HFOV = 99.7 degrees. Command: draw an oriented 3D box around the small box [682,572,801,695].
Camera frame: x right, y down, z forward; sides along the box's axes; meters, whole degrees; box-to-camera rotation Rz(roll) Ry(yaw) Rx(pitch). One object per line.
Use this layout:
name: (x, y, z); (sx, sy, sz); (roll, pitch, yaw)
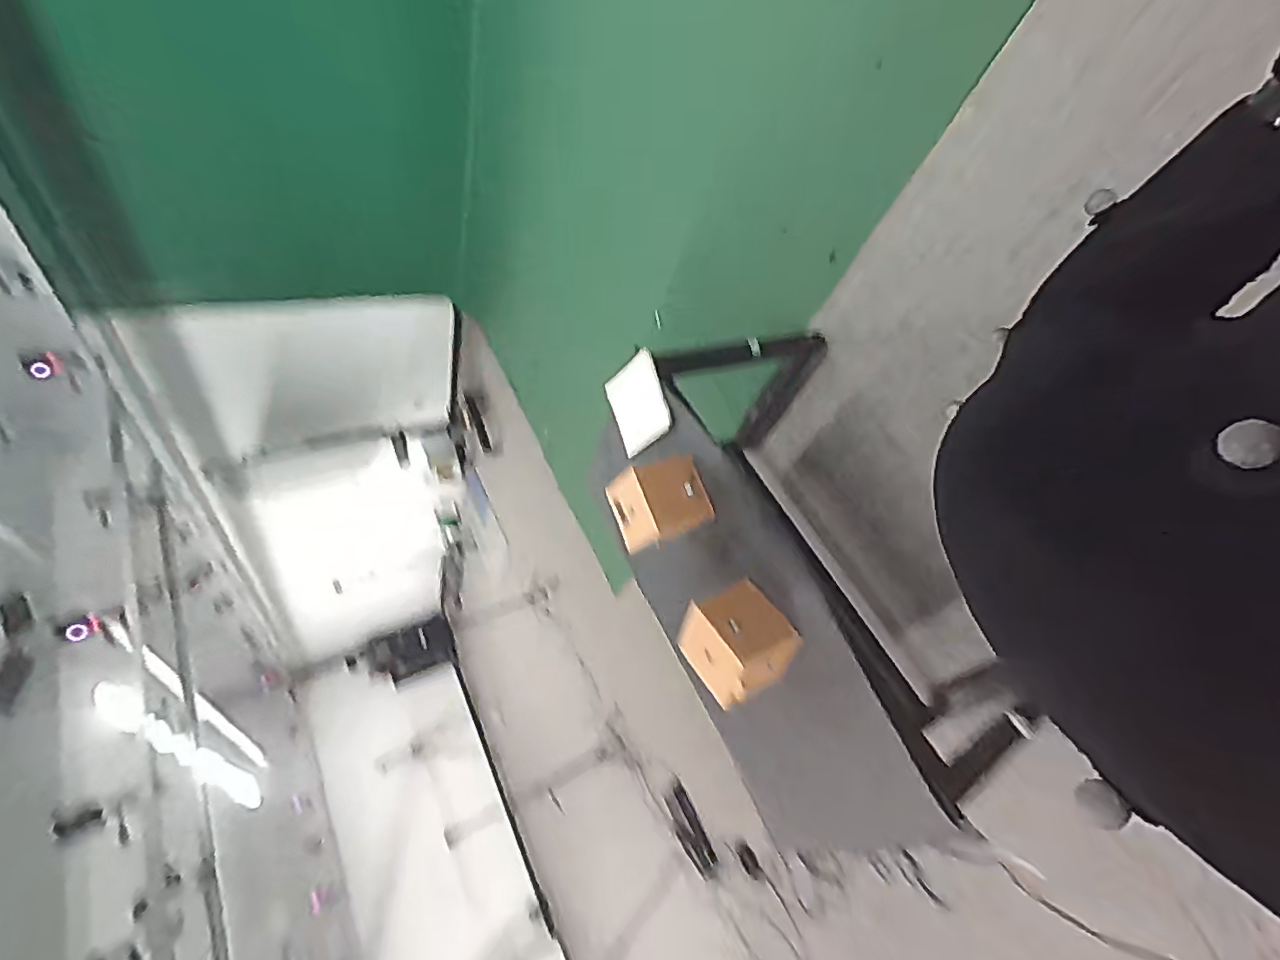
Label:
small box: (0.224, 0.334, 1.203); (0.179, 0.176, 0.168); (49, 140, 37)

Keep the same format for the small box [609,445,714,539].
small box: (0.053, 0.030, 1.332); (0.179, 0.176, 0.168); (-39, 71, 57)
